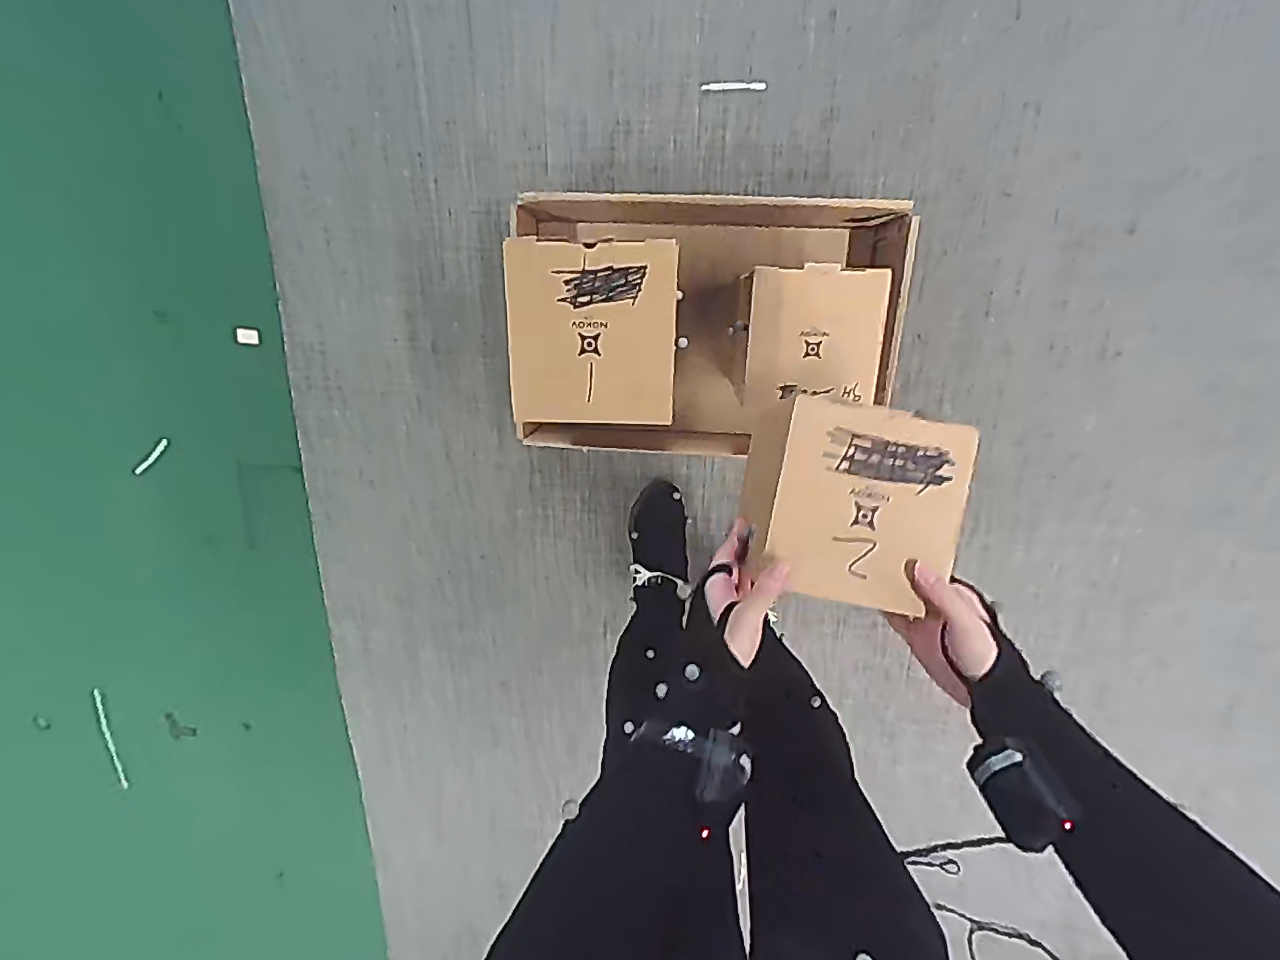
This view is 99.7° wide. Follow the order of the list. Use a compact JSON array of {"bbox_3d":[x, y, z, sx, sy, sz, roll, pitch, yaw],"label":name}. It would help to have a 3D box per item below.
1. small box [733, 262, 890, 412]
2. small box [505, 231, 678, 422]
[{"bbox_3d":[0.221,-0.195,0.748,0.168,0.176,0.179,3,106,5],"label":"small box"},{"bbox_3d":[-0.046,-0.167,0.602,0.168,0.176,0.179,2,106,2],"label":"small box"}]
